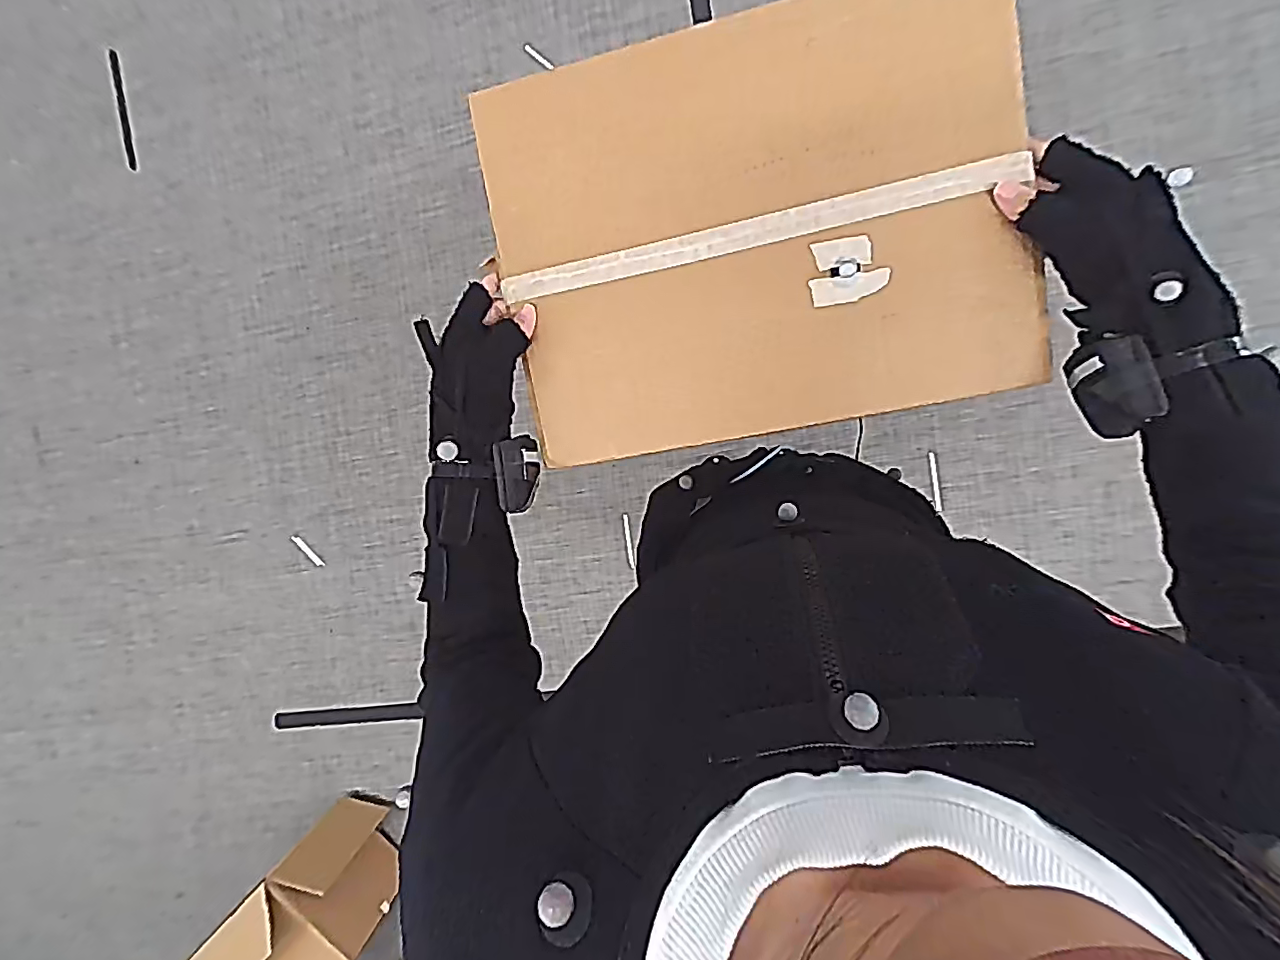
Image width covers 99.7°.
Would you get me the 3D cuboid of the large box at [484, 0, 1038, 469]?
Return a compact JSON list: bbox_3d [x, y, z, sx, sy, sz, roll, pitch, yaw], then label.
[{"bbox_3d":[0.107,-0.213,0.583,0.408,0.320,0.320,-10,97,9],"label":"large box"}]
